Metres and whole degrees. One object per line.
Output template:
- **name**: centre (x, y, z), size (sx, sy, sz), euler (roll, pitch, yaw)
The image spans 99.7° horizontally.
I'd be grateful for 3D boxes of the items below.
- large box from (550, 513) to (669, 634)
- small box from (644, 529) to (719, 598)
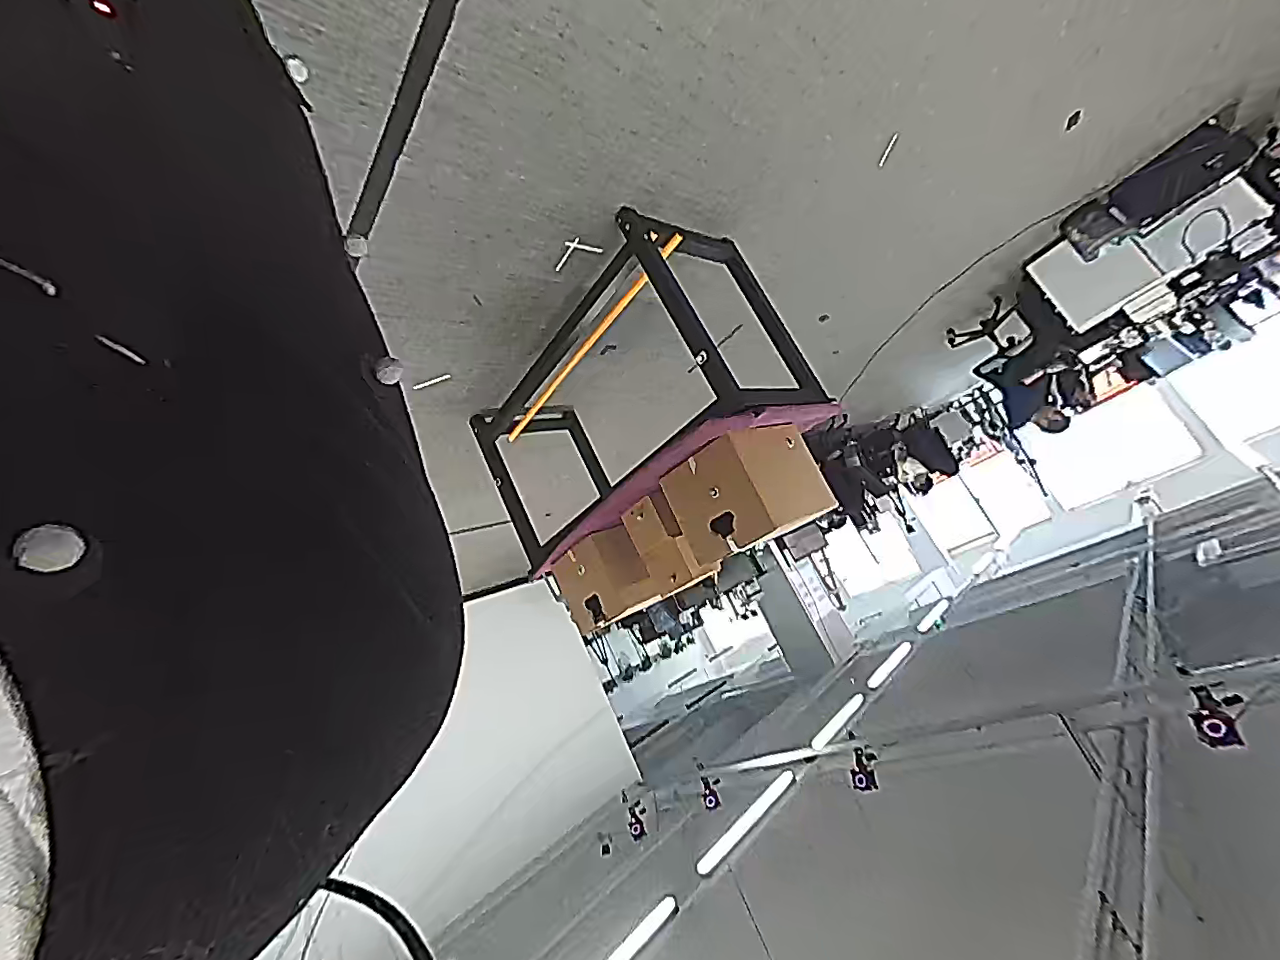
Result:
- **large box**: centre (-0.083, 0.366, 2.170), size (0.408, 0.320, 0.320), euler (-13, 161, -47)
- **small box**: centre (0.138, 0.291, 1.904), size (0.168, 0.176, 0.179), euler (-10, 158, -47)
